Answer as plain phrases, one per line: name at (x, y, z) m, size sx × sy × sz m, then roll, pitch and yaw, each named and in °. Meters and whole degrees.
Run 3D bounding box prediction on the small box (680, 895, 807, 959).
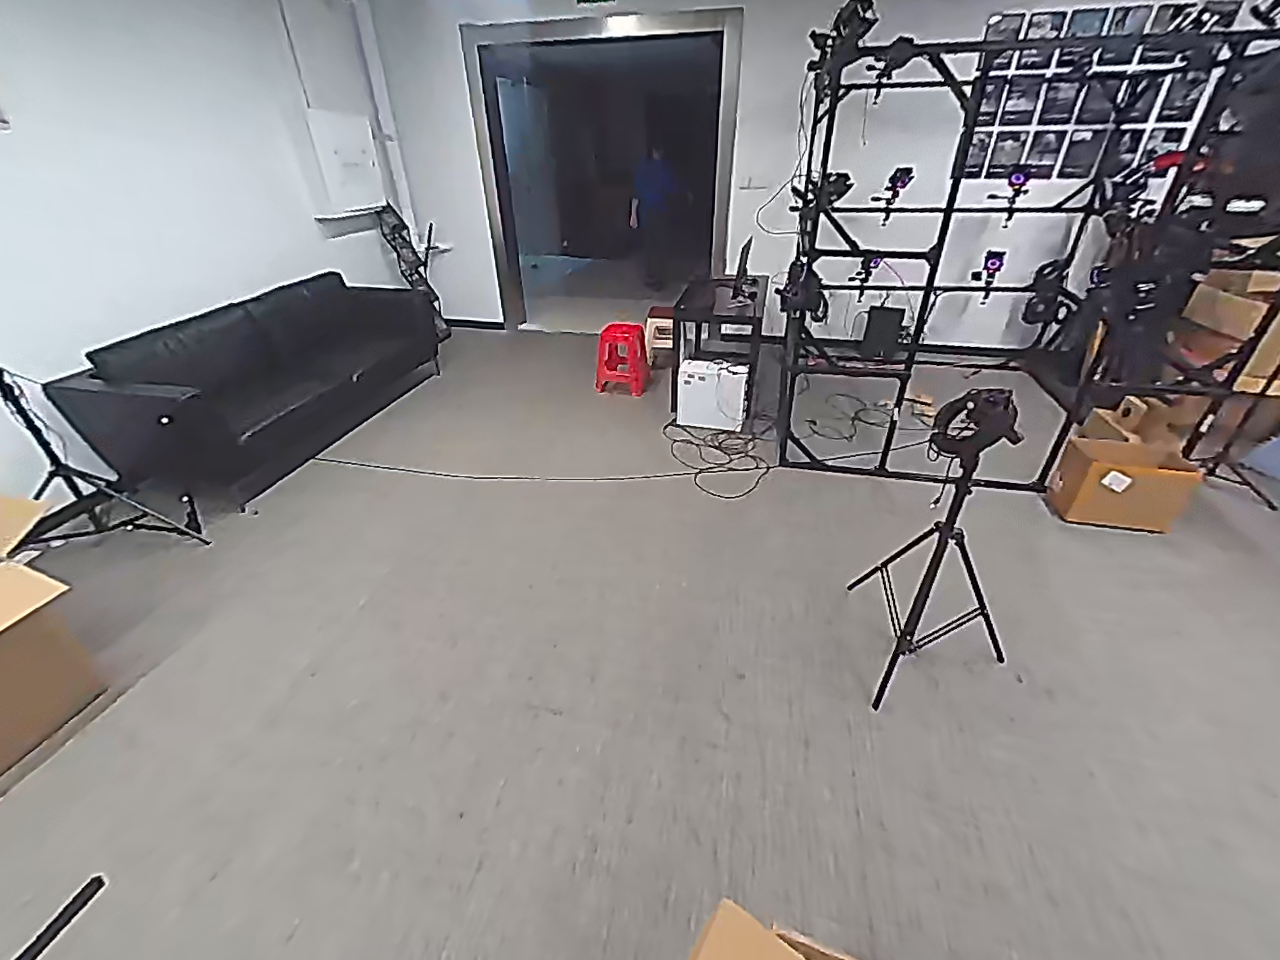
small box at (0.116, 0.613, 0.597) m, size 0.179 × 0.176 × 0.168 m, roll 28°, pitch 48°, yaw 22°
